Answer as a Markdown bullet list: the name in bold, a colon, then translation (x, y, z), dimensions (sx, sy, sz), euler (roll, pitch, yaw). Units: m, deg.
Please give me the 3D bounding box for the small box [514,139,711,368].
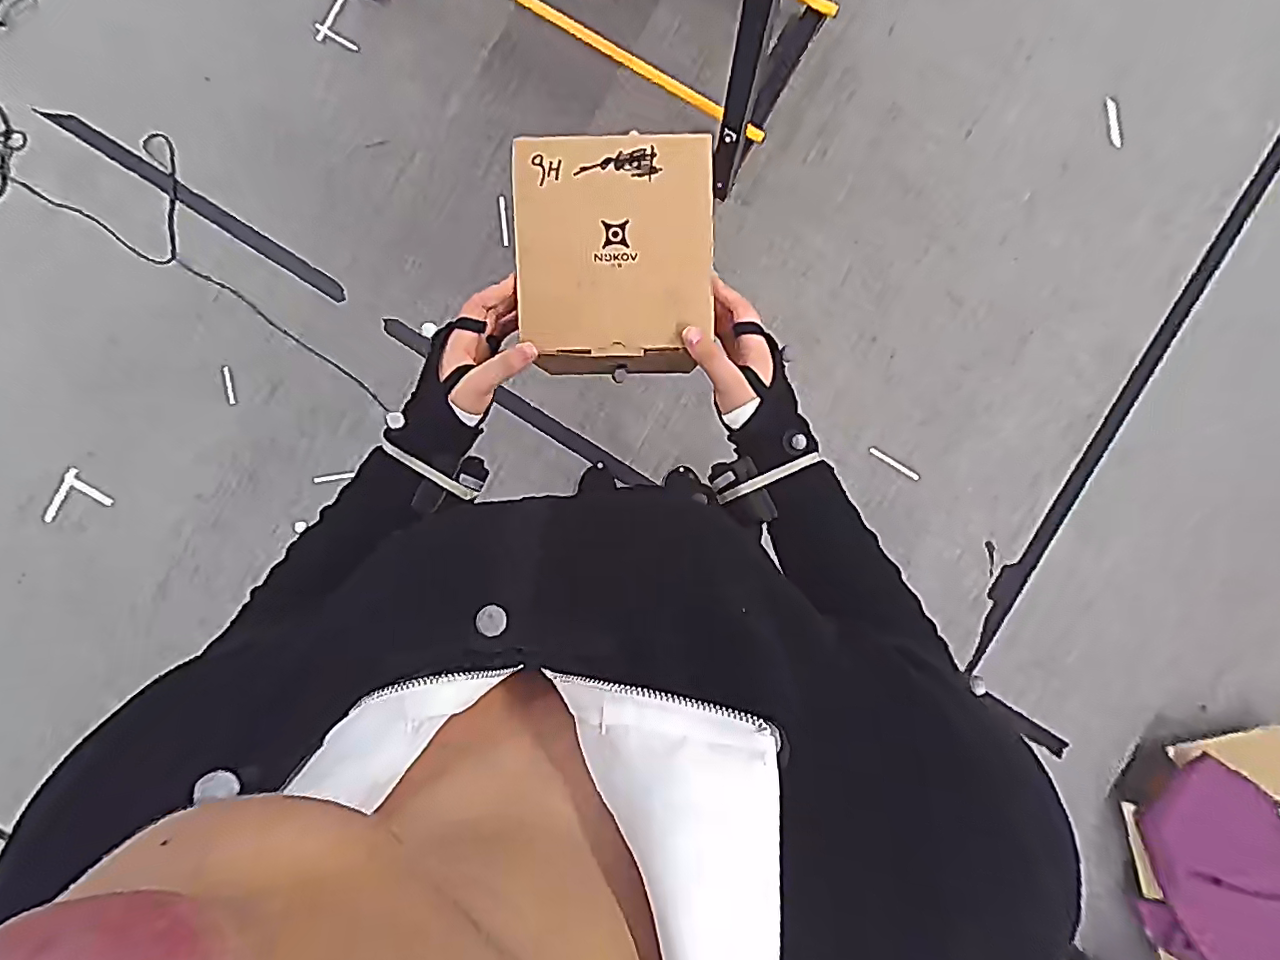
- **small box**: translation (-0.022, -0.203, 0.534), dimensions (0.168, 0.176, 0.179), euler (-1, 96, -1)
